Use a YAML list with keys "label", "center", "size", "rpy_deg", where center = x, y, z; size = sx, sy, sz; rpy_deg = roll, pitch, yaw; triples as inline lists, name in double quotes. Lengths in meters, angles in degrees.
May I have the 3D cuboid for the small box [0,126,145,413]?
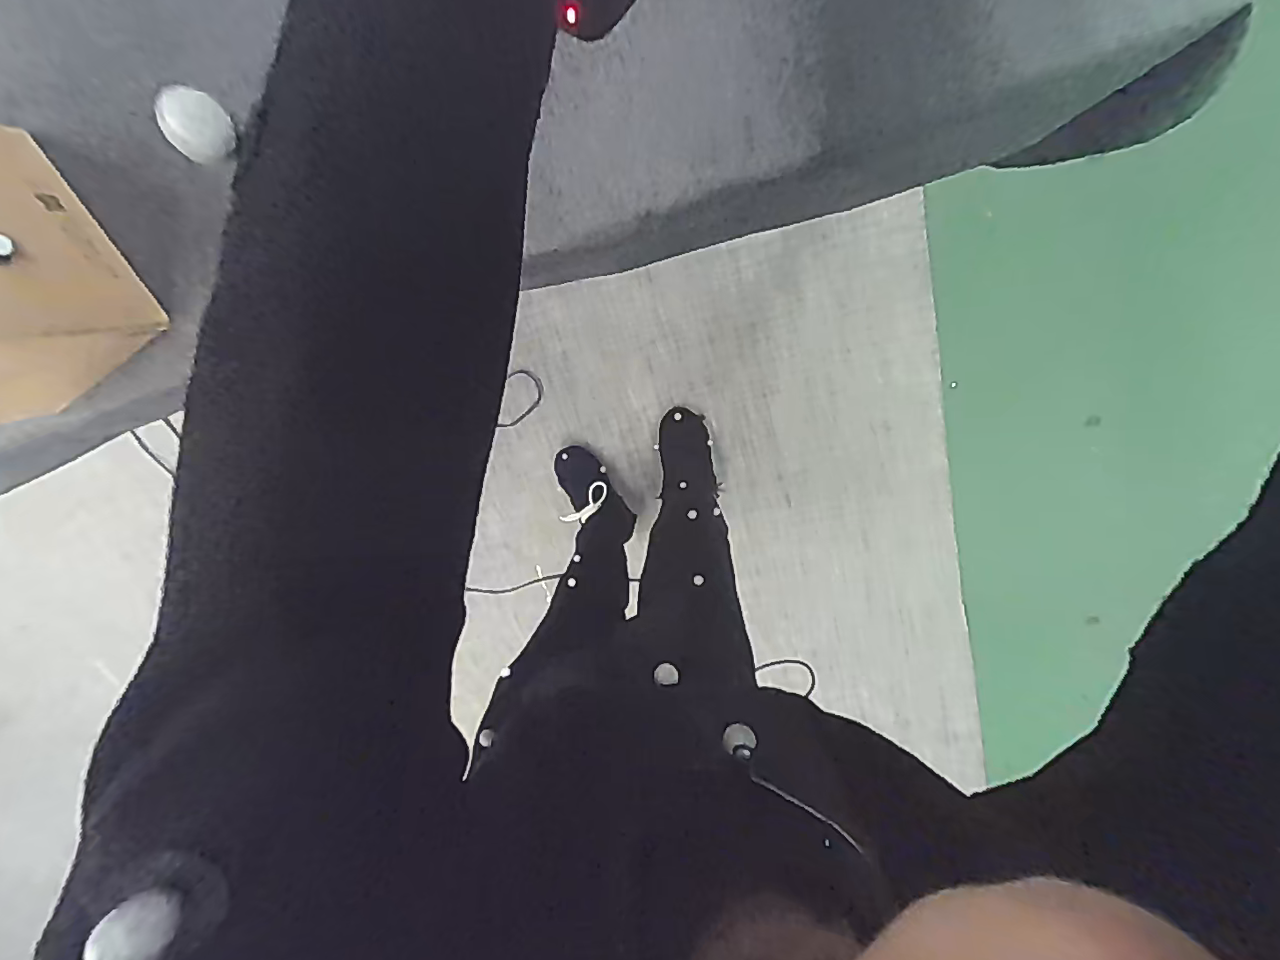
- label: "small box"
  center: [-0.521, -0.144, 0.384]
  size: [0.179, 0.176, 0.168]
  rpy_deg: [-25, 106, 16]
